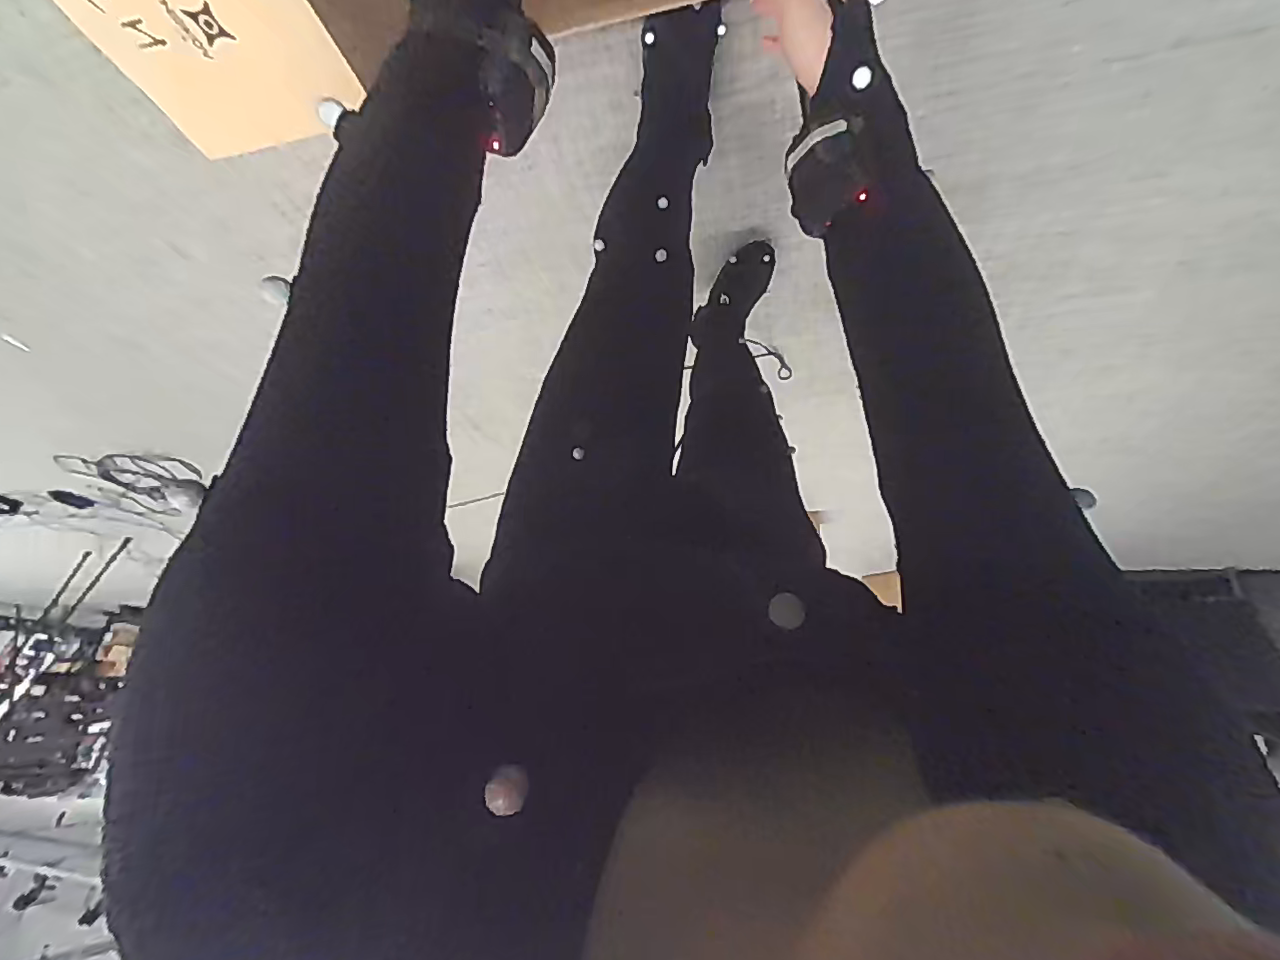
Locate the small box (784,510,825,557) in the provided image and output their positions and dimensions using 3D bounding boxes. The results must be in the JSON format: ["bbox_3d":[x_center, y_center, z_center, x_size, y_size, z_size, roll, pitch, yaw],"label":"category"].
[{"bbox_3d":[0.763,0.248,2.508,0.179,0.176,0.168,-5,154,17],"label":"small box"}]
